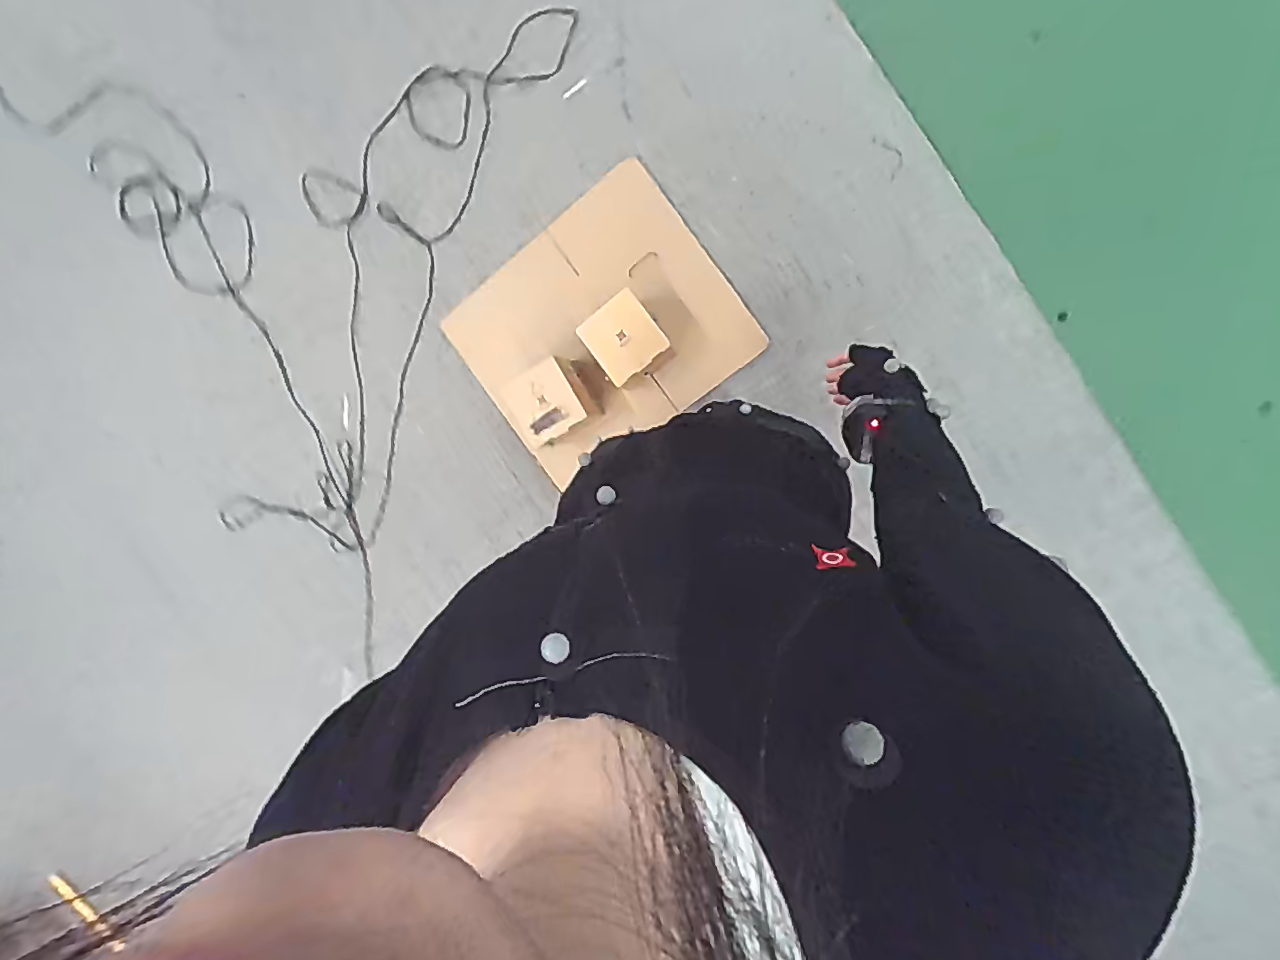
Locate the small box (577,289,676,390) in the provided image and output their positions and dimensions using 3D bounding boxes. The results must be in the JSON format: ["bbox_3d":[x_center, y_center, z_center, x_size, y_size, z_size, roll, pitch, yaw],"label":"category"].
[{"bbox_3d":[-0.026,-0.342,1.356,0.168,0.176,0.179,-38,90,11],"label":"small box"}]
